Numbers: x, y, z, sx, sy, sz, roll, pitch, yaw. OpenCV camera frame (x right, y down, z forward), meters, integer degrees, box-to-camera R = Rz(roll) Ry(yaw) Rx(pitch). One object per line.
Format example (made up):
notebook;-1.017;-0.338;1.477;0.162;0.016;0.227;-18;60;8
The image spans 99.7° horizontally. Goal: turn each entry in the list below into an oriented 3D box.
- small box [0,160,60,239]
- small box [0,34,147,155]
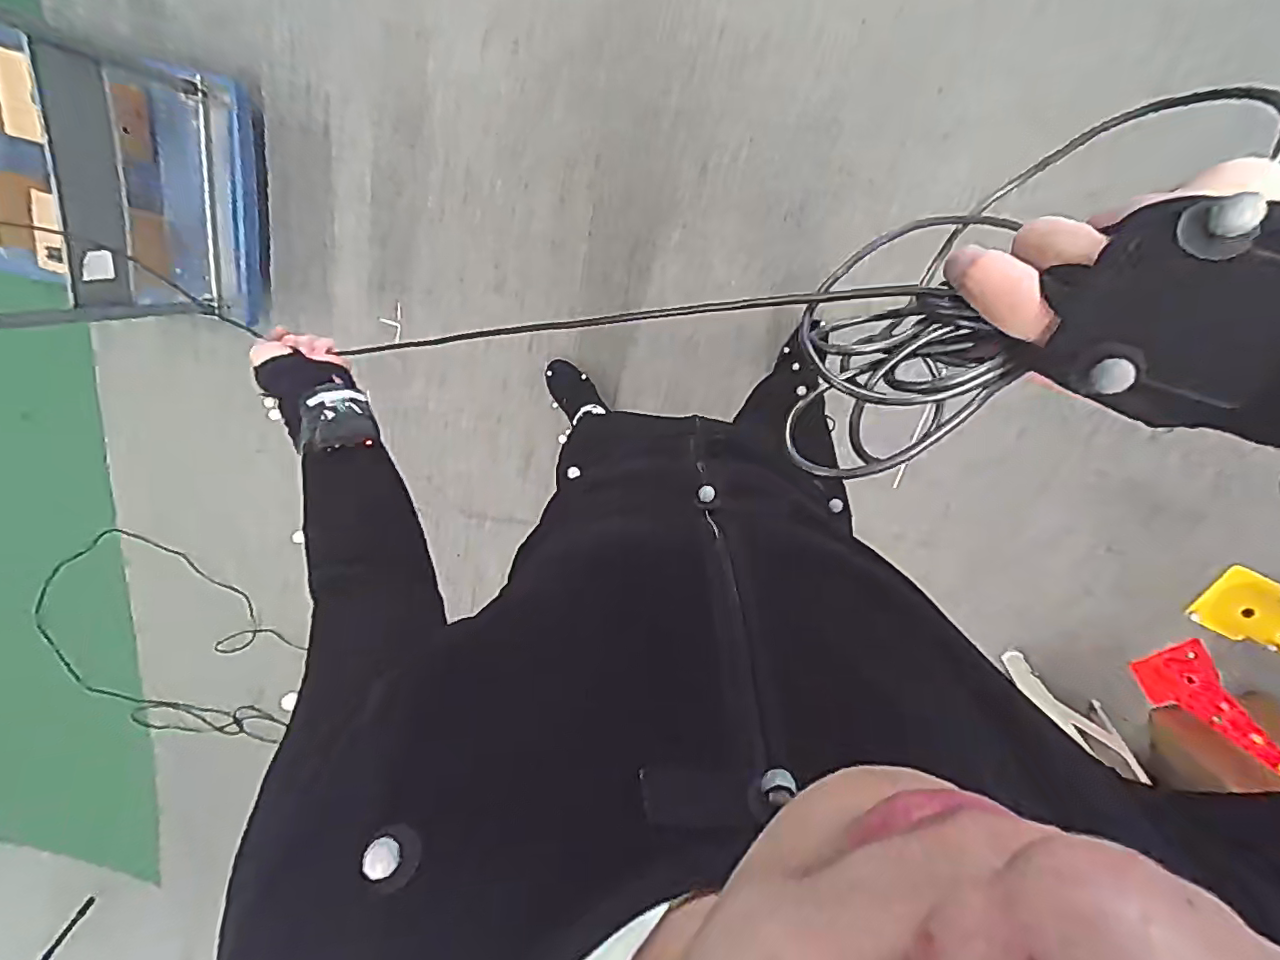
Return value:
small box;-1.566;-0.685;1.303;0.179;0.176;0.168;11;111;2
small box;-1.266;-0.849;1.208;0.179;0.176;0.168;15;111;0
